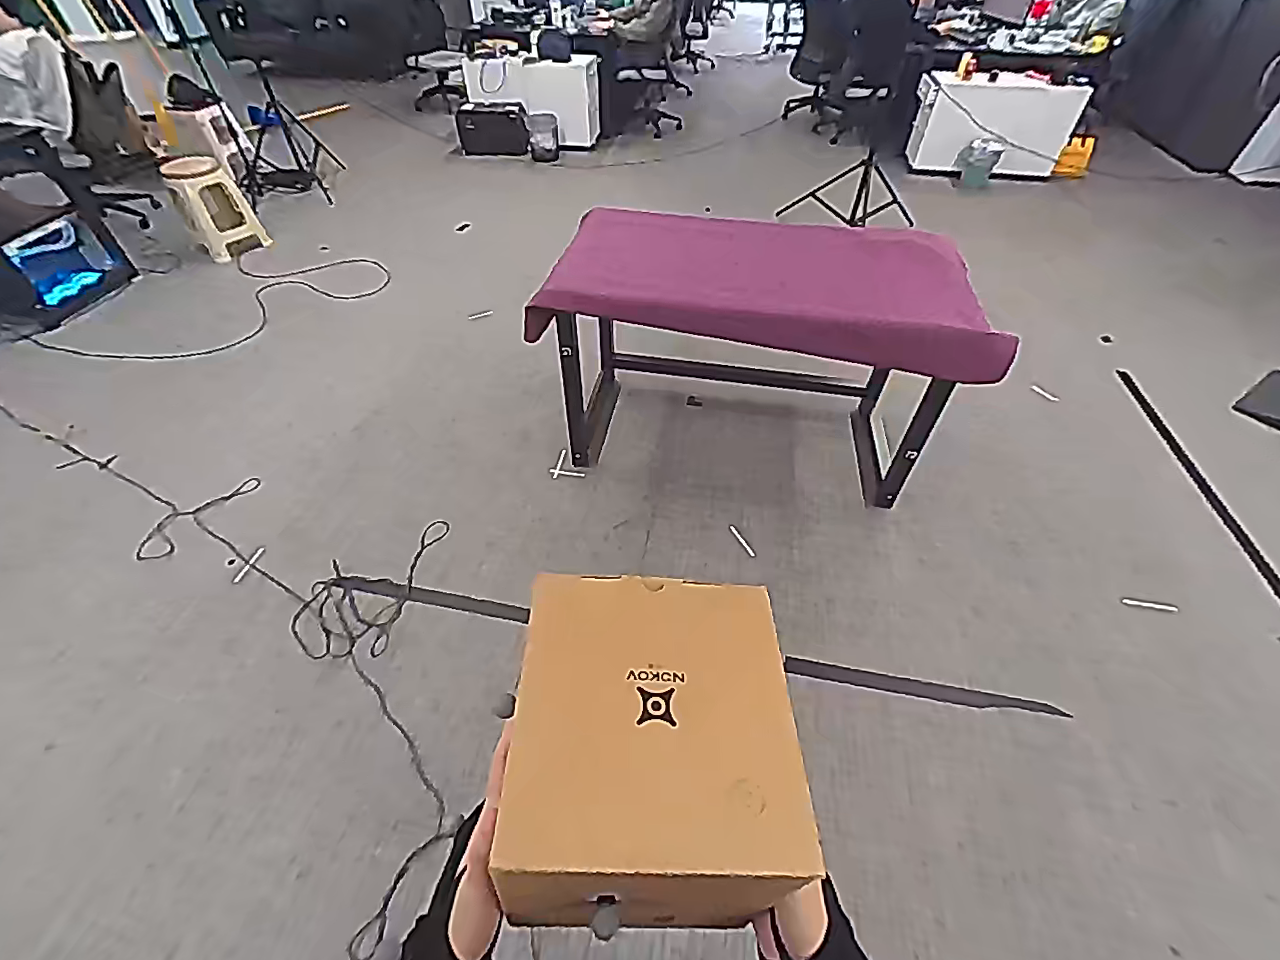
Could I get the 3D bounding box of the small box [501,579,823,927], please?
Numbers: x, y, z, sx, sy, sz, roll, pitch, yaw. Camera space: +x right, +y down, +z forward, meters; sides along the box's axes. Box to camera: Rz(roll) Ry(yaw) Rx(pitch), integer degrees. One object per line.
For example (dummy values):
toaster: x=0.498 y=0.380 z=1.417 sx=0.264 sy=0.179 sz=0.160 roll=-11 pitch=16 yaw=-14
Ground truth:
small box: x=0.006 y=0.193 z=0.381 sx=0.168 sy=0.176 sz=0.179 roll=4 pitch=42 yaw=-5
